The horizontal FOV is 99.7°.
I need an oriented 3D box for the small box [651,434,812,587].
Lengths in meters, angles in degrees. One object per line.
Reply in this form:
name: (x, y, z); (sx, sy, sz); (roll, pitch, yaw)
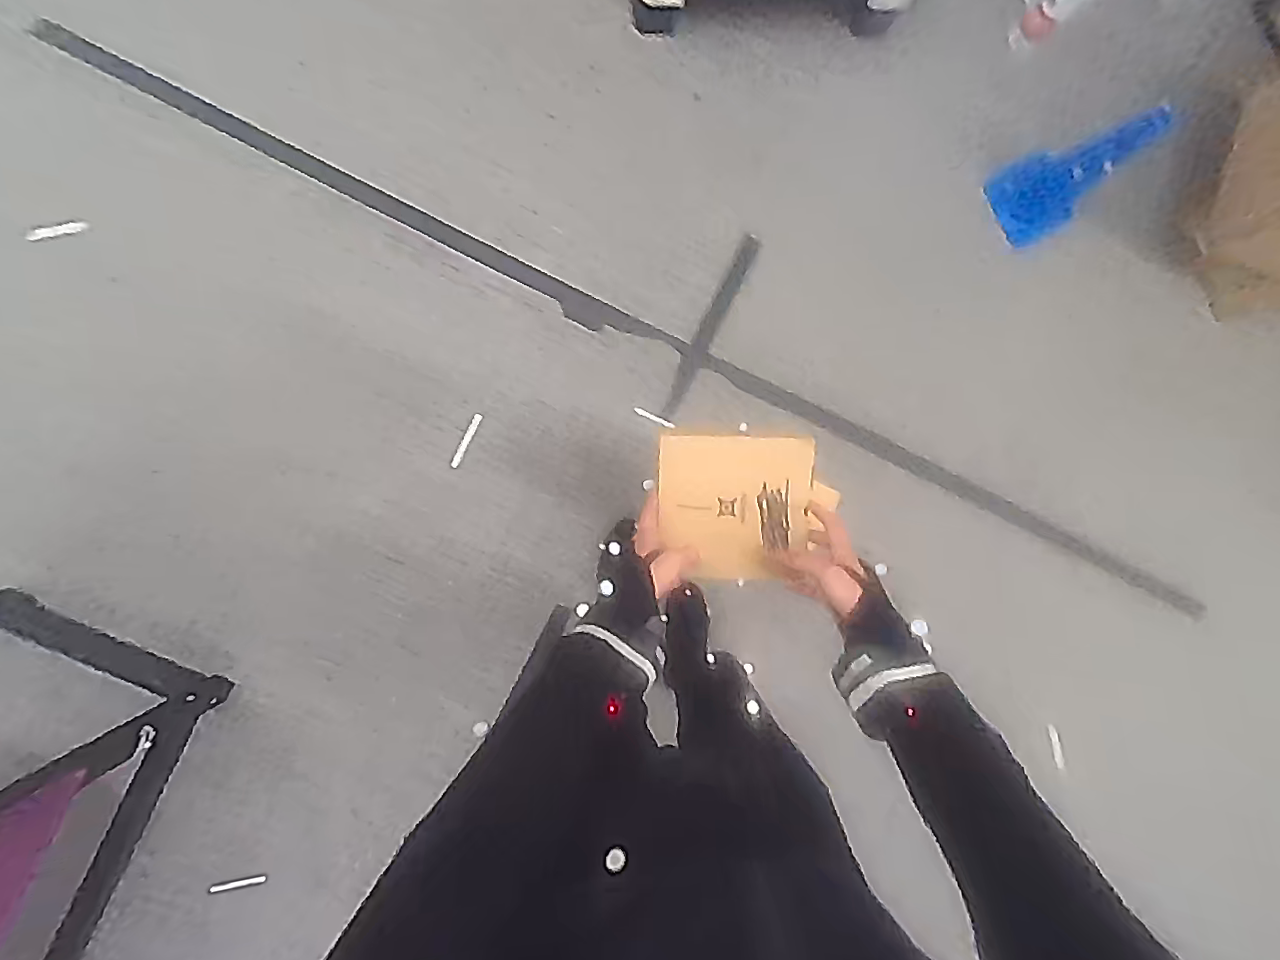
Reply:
small box: (0.104, 0.029, 0.690); (0.179, 0.176, 0.168); (1, 99, 1)

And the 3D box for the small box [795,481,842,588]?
small box: (0.236, 0.072, 1.008); (0.168, 0.176, 0.179); (26, 90, -4)
